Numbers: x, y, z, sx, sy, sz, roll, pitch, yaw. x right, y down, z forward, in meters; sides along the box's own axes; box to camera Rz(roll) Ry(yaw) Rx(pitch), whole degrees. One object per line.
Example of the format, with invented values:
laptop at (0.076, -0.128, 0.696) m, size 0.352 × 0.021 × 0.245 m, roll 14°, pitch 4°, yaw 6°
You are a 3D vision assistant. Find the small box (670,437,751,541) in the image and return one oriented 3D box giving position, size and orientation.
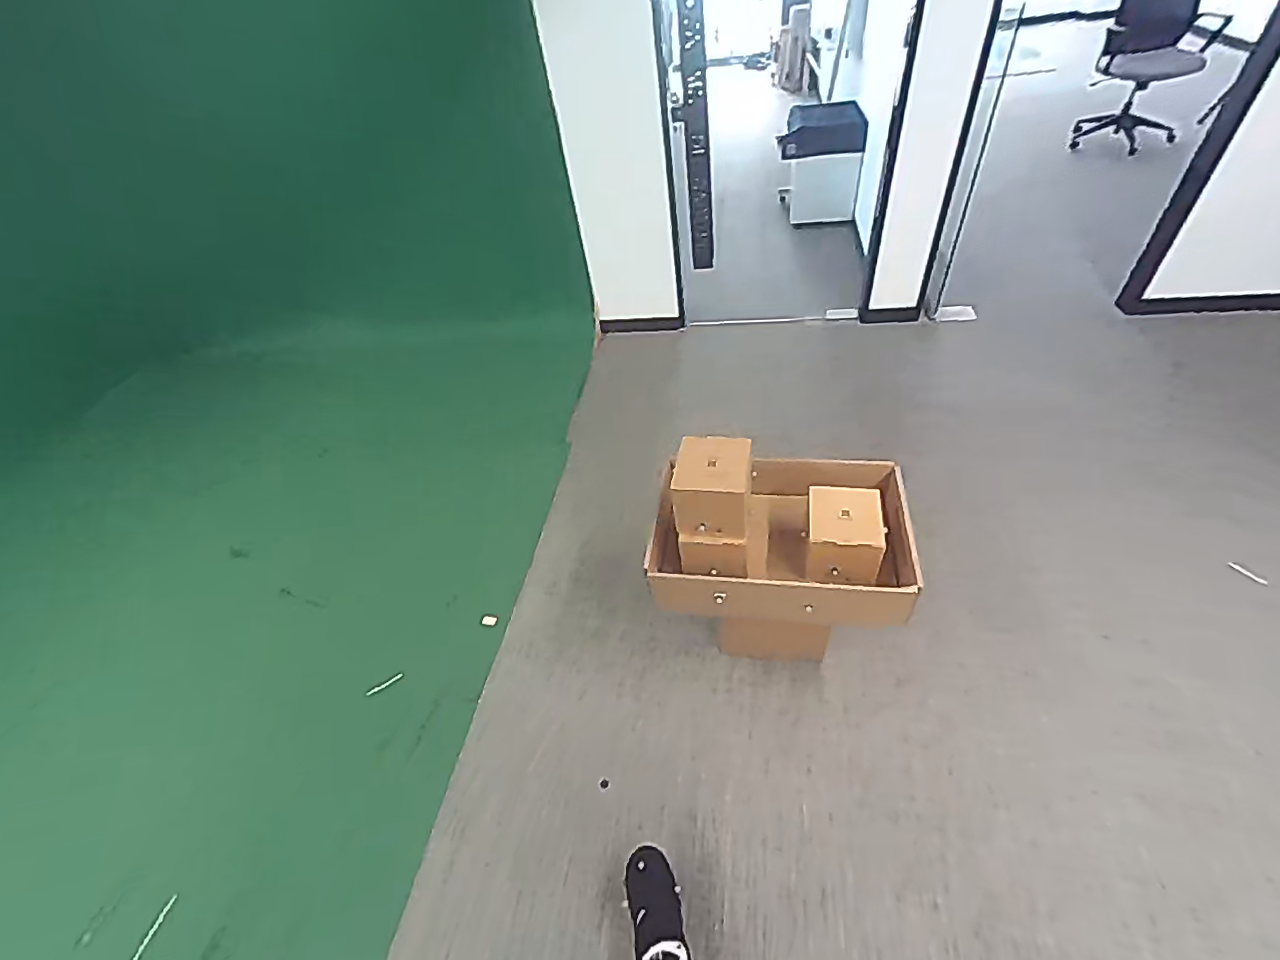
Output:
small box at (0.173, 0.020, 1.285) m, size 0.168 × 0.176 × 0.179 m, roll 3°, pitch 47°, yaw 15°
